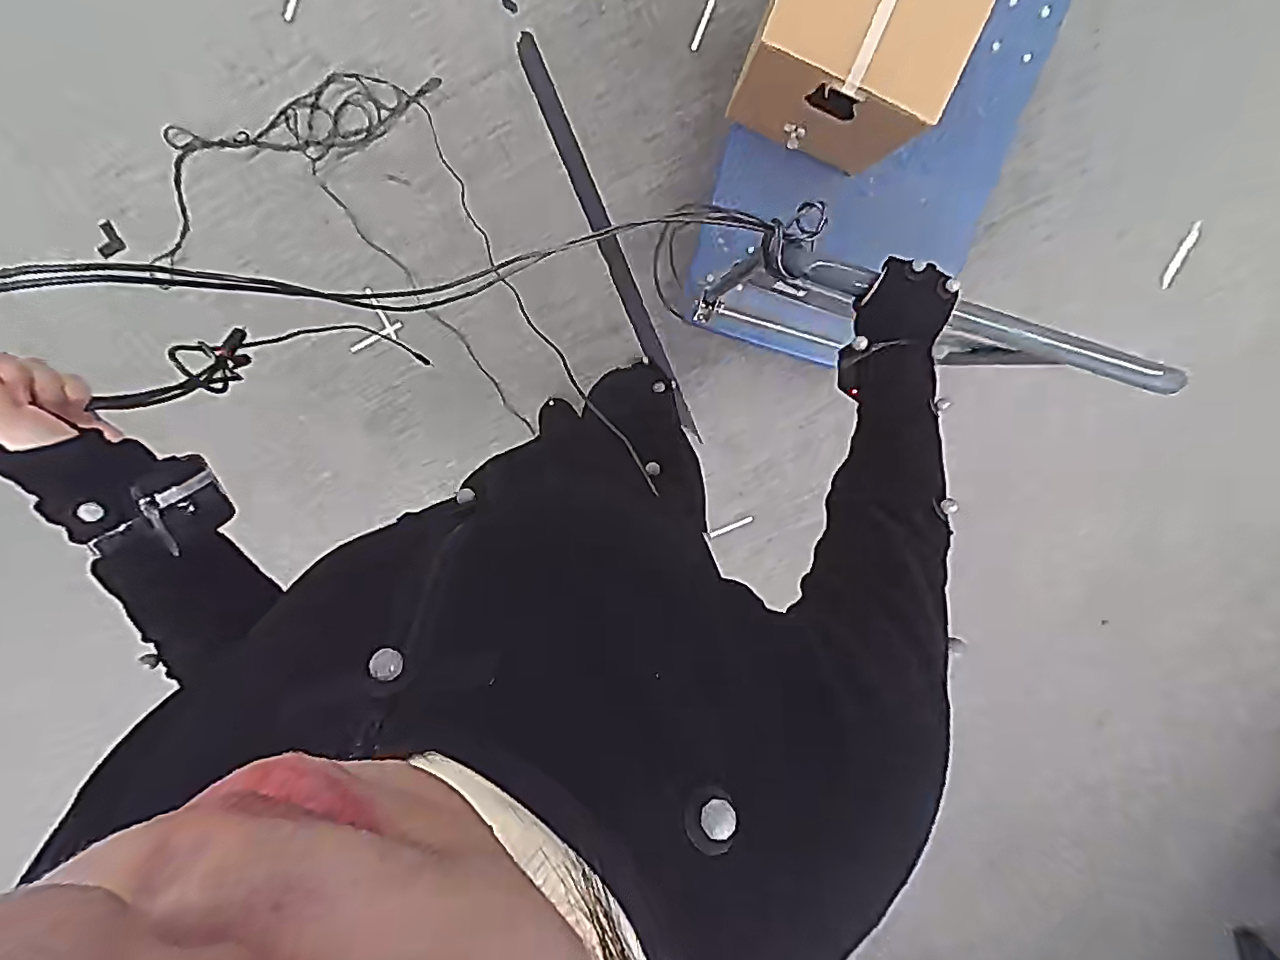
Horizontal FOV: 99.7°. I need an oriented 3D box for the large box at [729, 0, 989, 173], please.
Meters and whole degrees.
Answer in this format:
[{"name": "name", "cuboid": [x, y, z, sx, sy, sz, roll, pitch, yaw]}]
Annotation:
[{"name": "large box", "cuboid": [0.389, -0.833, 0.937, 0.320, 0.320, 0.408, 20, 104, -7]}]
